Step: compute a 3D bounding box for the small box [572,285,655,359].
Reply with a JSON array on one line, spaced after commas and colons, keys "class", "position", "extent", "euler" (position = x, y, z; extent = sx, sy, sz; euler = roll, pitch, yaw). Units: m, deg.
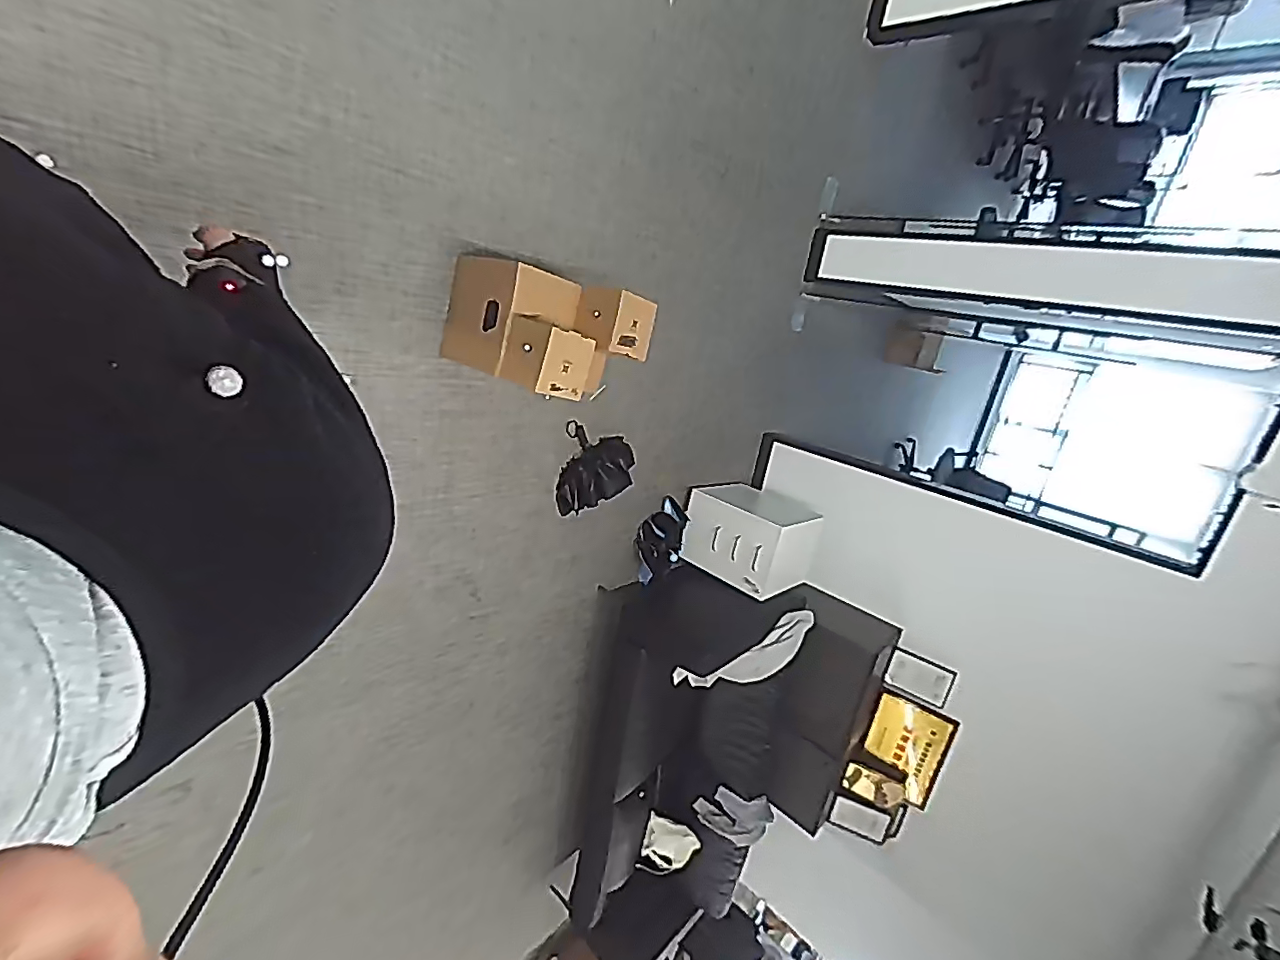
[{"class": "small box", "position": [-0.084, -0.475, 1.628], "extent": [0.168, 0.176, 0.179], "euler": [1, 104, -52]}]

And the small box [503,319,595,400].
[{"class": "small box", "position": [-0.254, -0.333, 1.487], "extent": [0.168, 0.176, 0.179], "euler": [1, 108, -52]}]
